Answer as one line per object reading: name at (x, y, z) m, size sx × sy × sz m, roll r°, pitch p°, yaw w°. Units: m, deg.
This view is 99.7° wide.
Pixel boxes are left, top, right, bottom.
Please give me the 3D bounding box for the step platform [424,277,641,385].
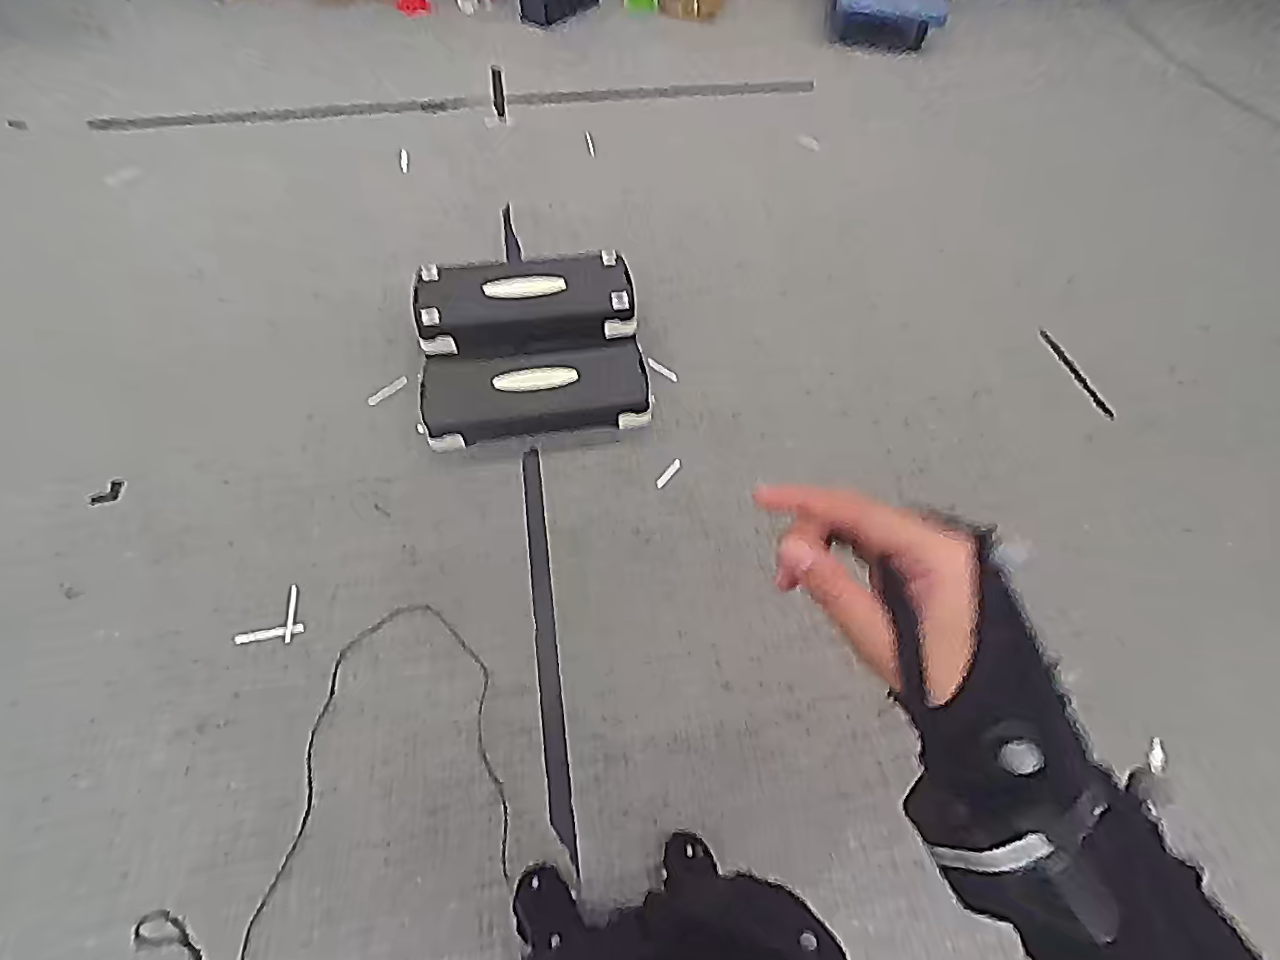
step platform at (-0.337, -0.492, 1.759) m, size 0.684 × 0.204 × 0.286 m, roll -4°, pitch 58°, yaw -6°
